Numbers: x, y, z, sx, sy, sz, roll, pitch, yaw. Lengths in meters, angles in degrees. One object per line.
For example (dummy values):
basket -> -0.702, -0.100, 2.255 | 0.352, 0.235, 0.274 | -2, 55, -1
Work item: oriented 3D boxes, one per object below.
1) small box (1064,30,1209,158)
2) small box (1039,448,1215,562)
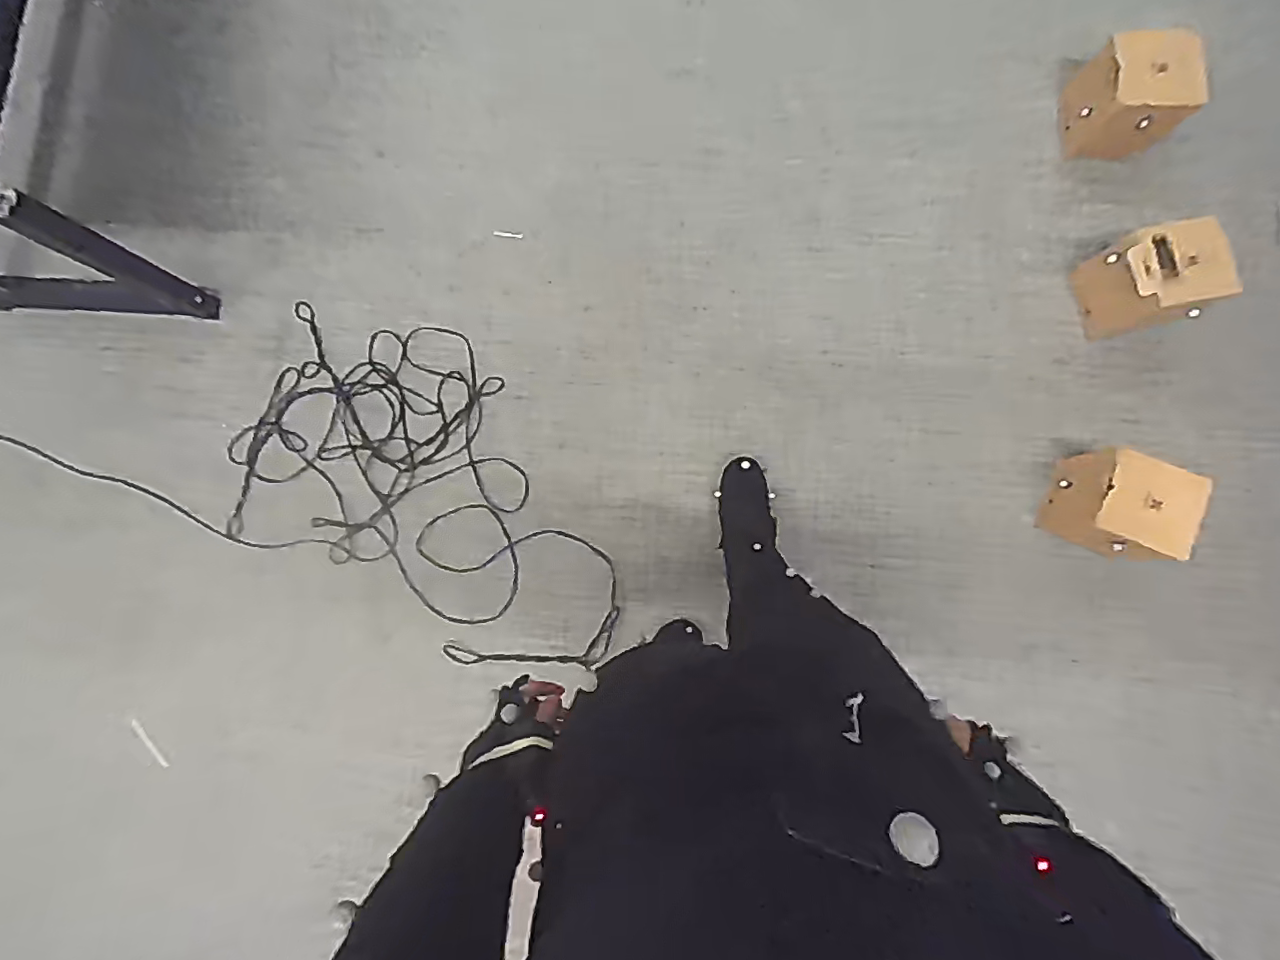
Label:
small box -> 1.068, -0.834, 1.182 | 0.179, 0.176, 0.168 | 1, 85, 1
small box -> 0.965, 0.052, 1.087 | 0.179, 0.176, 0.168 | 23, 85, 5
